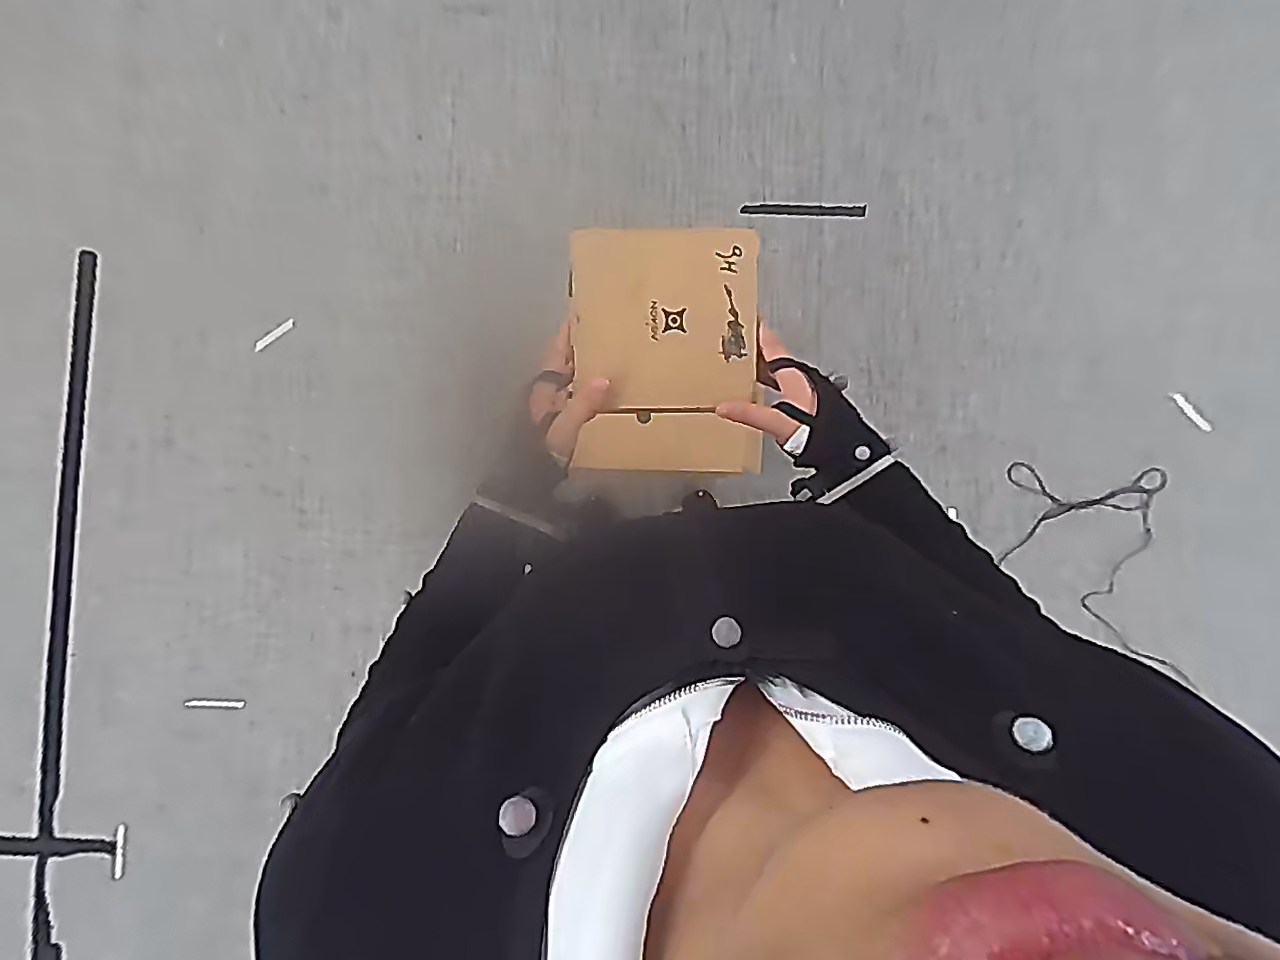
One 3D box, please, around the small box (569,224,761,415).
[{"bbox_3d":[0.021,-0.155,0.572,0.179,0.176,0.168,-1,95,-3],"label":"small box"}]
